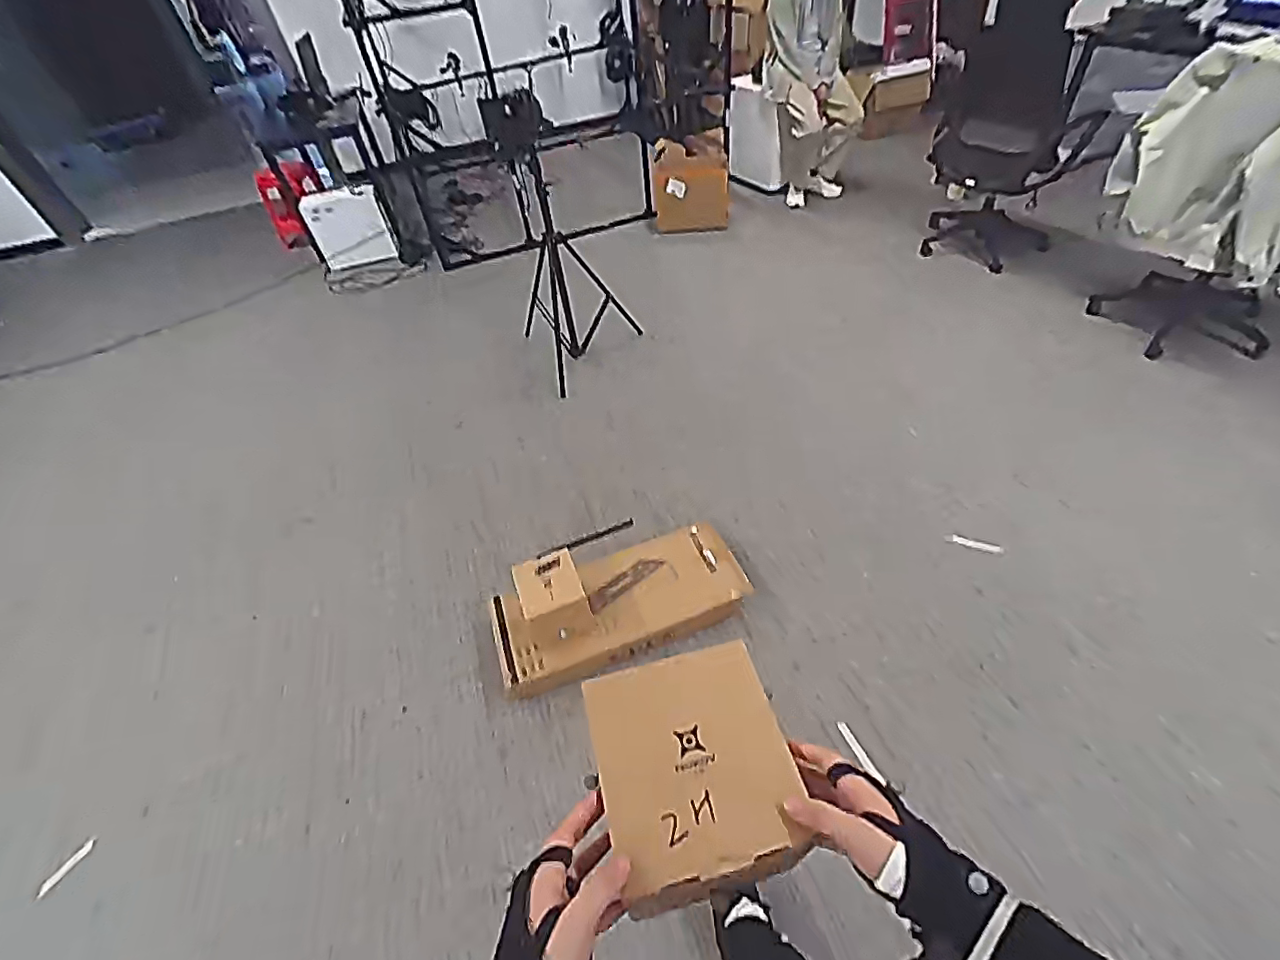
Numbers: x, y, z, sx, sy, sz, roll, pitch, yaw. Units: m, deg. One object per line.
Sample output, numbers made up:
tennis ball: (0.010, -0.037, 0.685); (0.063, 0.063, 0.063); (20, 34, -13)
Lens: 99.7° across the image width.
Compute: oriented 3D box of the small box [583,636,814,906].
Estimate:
small box: (0.045, 0.288, 0.538); (0.168, 0.176, 0.179); (-13, 48, -8)

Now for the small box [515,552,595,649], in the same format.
small box: (-0.235, 0.337, 1.508); (0.168, 0.176, 0.179); (-20, 48, -11)
